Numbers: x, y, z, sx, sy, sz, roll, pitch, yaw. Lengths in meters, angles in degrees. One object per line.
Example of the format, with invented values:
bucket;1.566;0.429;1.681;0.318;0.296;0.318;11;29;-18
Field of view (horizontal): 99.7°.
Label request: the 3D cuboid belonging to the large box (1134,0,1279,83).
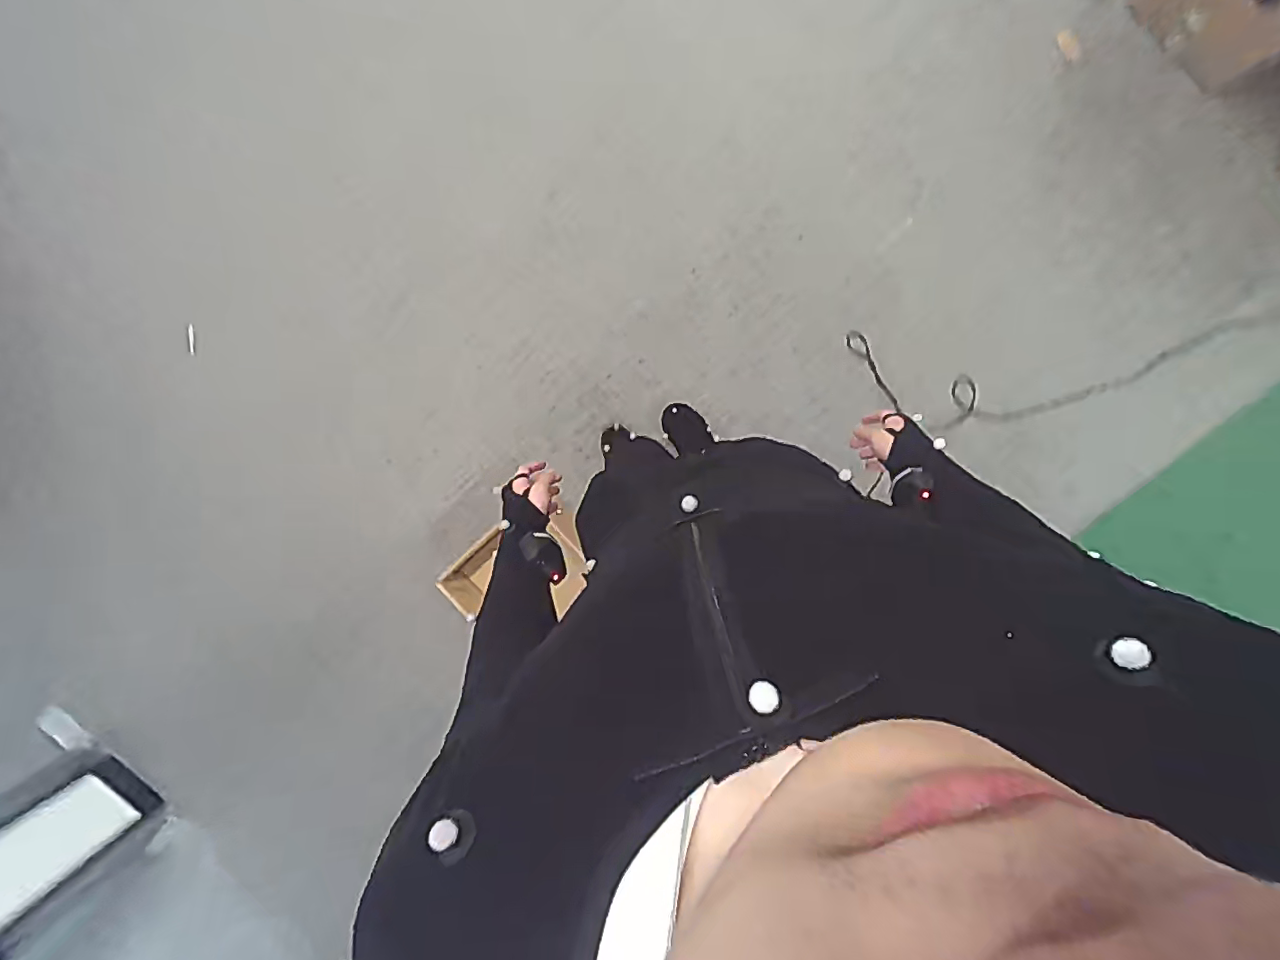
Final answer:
large box;1.421;-1.188;1.143;0.320;0.320;0.408;43;100;-3
